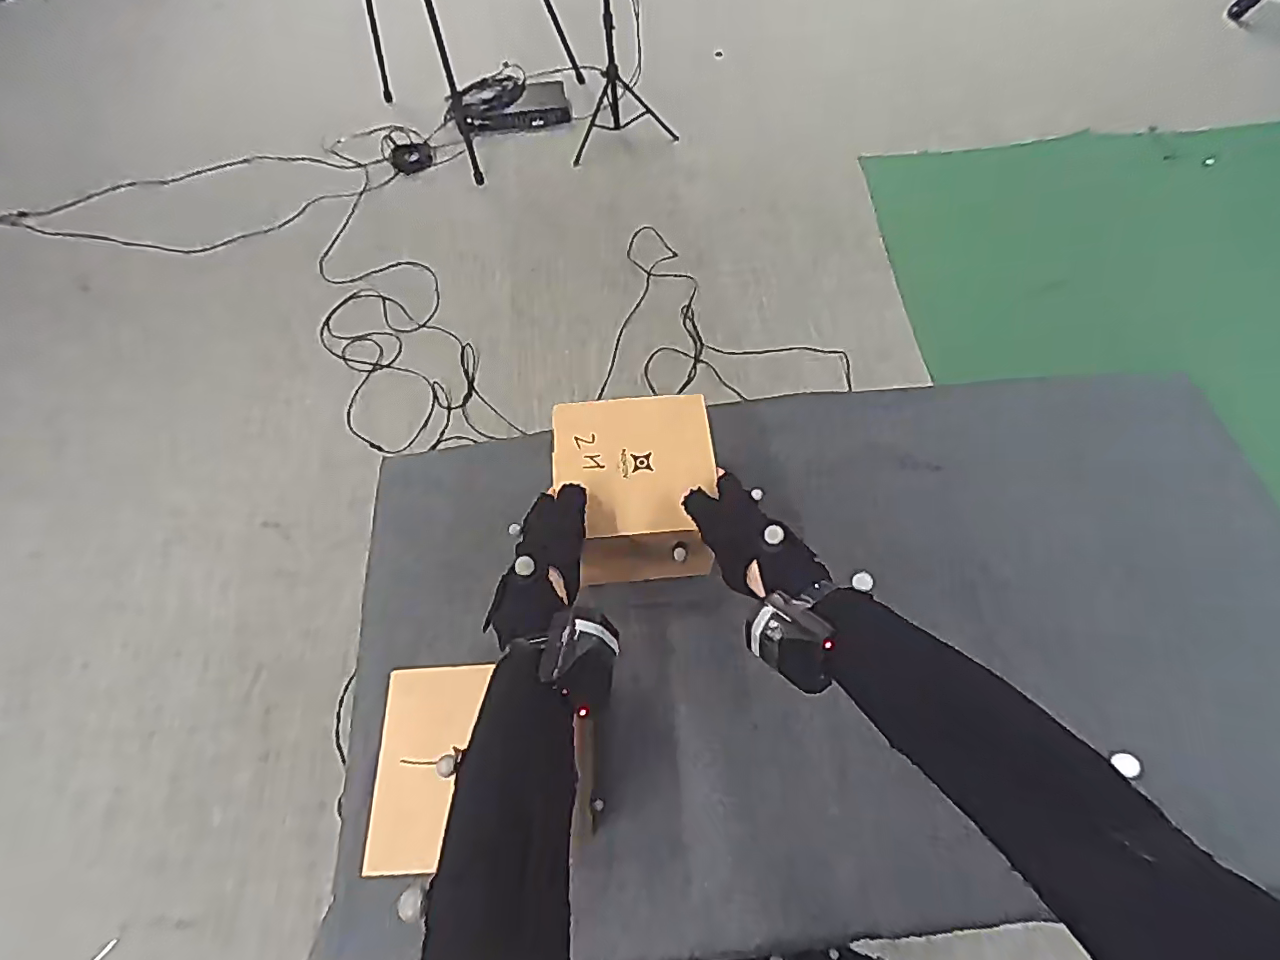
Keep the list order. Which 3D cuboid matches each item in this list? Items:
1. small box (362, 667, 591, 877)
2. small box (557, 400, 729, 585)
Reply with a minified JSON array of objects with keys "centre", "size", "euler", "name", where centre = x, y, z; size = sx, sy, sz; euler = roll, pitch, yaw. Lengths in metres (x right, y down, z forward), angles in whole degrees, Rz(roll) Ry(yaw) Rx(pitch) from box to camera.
[{"centre":[-0.144,0.288,0.553],"size":[0.179,0.176,0.168],"euler":[-3,63,2],"name":"small box"},{"centre":[-0.003,0.022,0.646],"size":[0.179,0.176,0.168],"euler":[-4,64,-2],"name":"small box"}]
